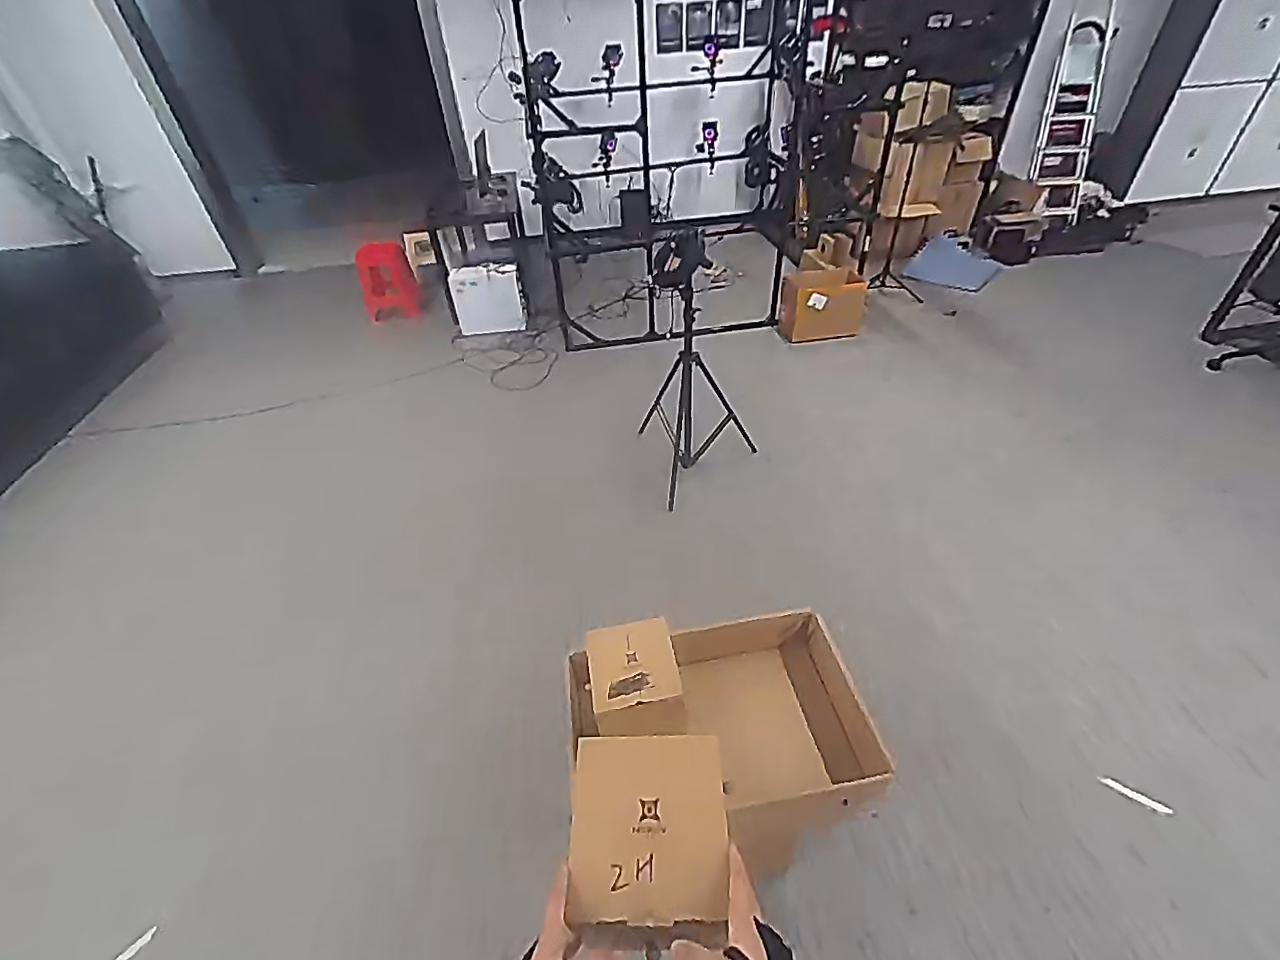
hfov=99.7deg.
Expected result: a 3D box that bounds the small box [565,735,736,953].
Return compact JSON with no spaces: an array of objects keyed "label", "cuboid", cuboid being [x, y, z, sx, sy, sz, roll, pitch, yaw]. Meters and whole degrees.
[{"label":"small box","cuboid":[0.014,0.418,0.624,0.168,0.176,0.179,-2,43,2]}]

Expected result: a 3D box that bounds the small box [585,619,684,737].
[{"label":"small box","cuboid":[-0.009,0.408,1.068,0.168,0.176,0.179,-10,40,-5]}]
